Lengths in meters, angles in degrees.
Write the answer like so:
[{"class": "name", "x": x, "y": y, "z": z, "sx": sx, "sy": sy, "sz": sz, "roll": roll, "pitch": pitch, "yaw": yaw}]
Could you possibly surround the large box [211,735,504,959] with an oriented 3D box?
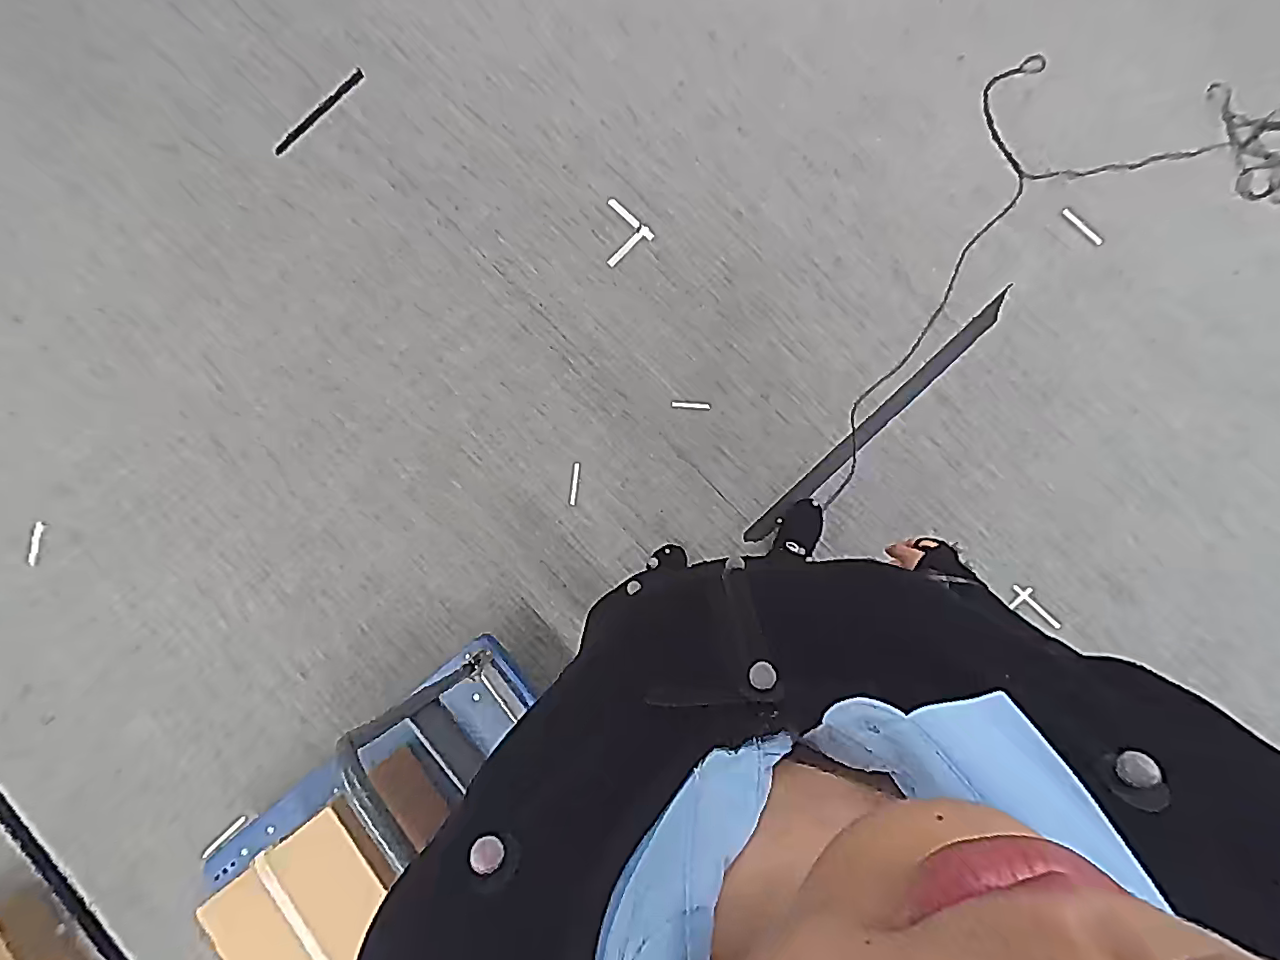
[{"class": "large box", "x": -0.561, "y": 0.845, "z": 1.146, "sx": 0.320, "sy": 0.320, "sz": 0.408, "roll": -38, "pitch": 85, "yaw": -1}]
